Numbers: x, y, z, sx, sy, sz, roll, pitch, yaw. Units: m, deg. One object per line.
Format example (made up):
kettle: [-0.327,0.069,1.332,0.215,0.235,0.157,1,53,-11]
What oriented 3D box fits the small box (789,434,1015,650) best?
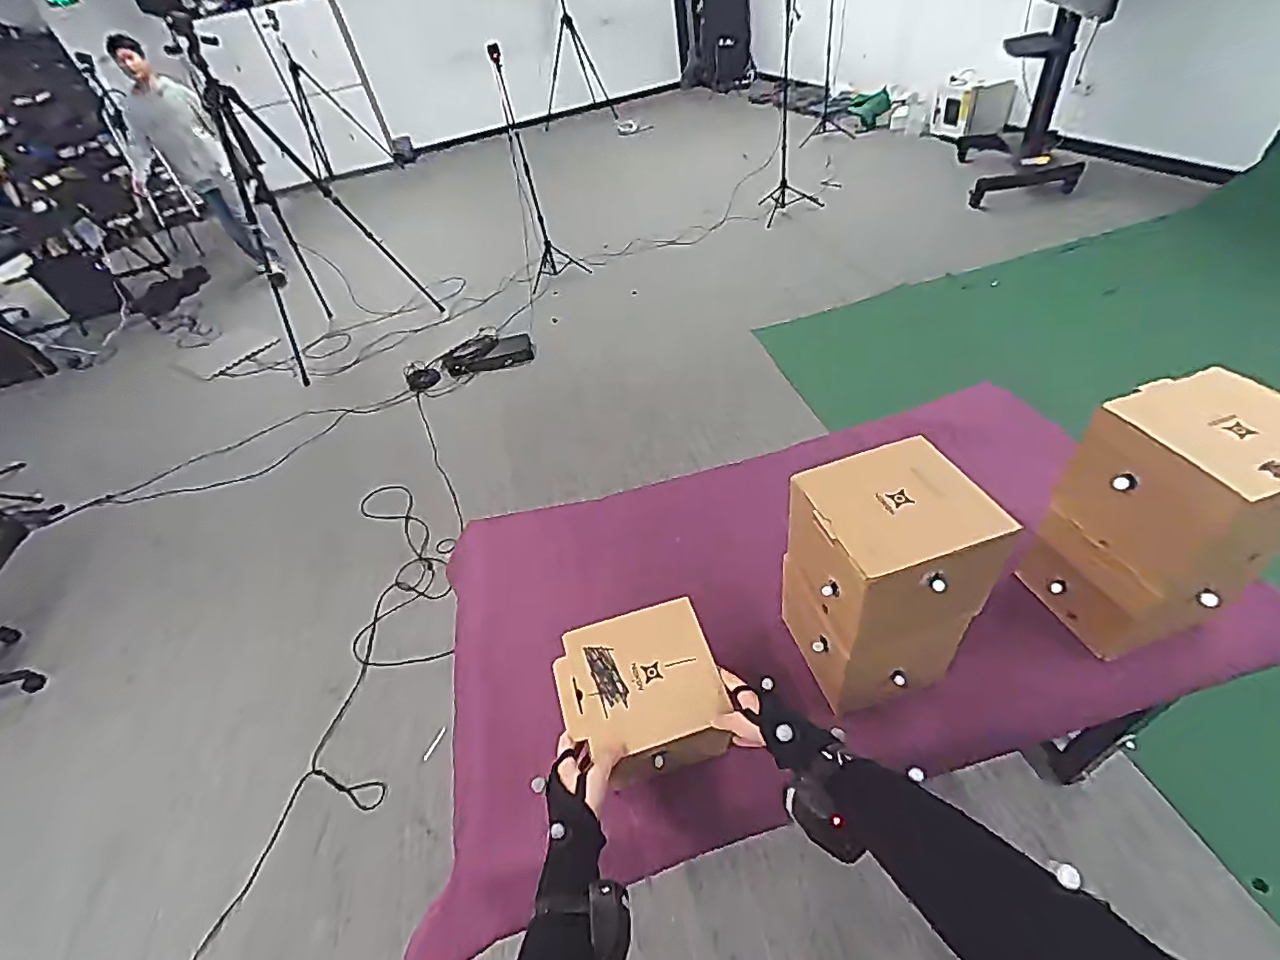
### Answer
small box: [0.297,0.077,0.654,0.179,0.176,0.168,-18,44,-3]

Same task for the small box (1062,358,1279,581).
small box: [0.662,-0.012,0.646,0.168,0.176,0.179,-20,44,-2]

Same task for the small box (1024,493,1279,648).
small box: [0.691,0.105,0.758,0.179,0.176,0.168,-20,44,-3]

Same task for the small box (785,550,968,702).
small box: [0.321,0.191,0.769,0.168,0.176,0.179,-18,42,-3]
